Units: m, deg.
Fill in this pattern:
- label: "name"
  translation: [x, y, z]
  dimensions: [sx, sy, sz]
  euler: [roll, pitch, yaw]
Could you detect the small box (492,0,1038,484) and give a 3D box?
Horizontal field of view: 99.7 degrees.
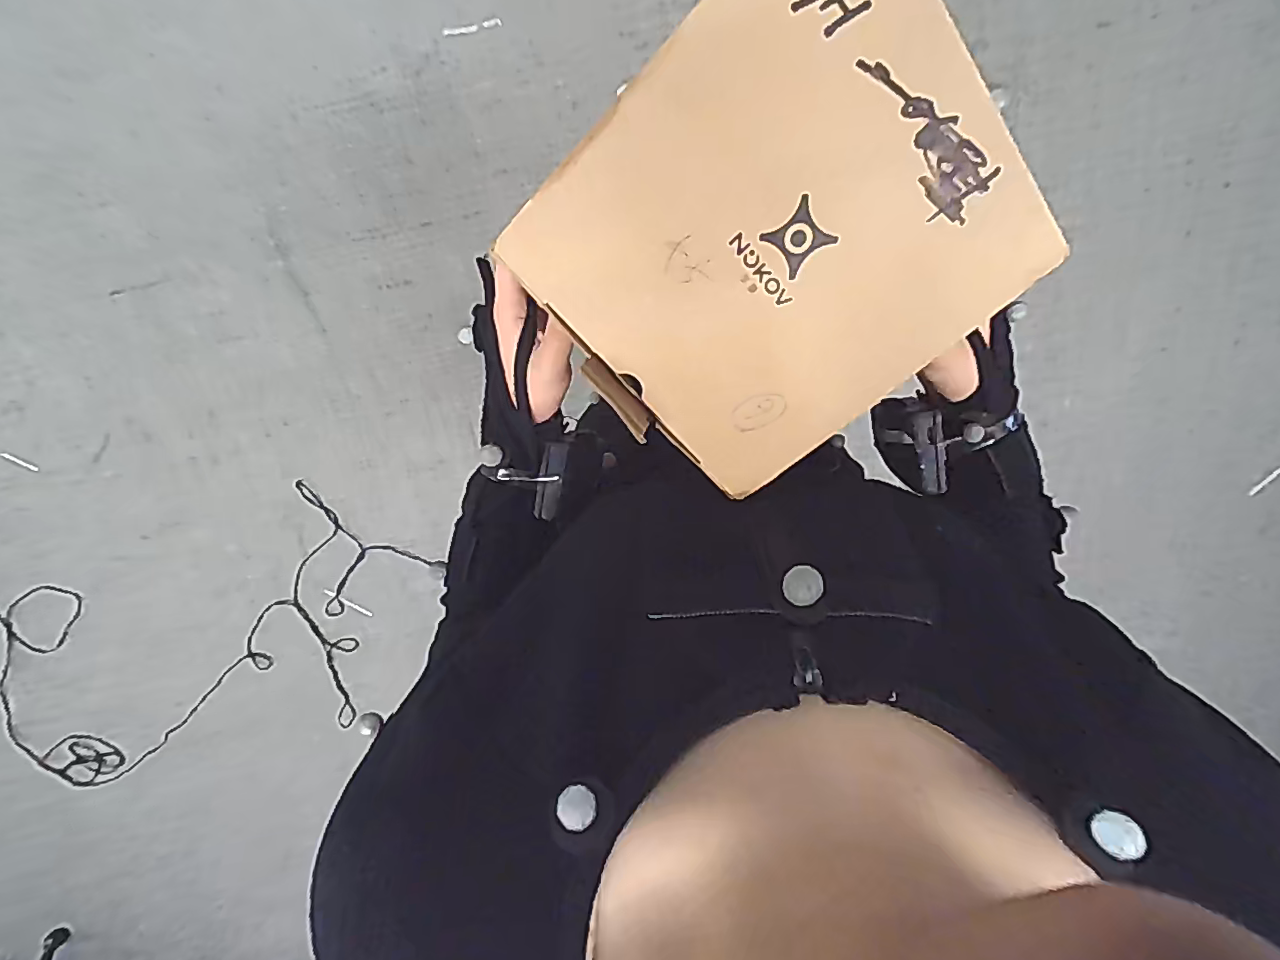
- label: "small box"
  translation: [0.054, -0.137, 0.300]
  dimensions: [0.179, 0.176, 0.168]
  euler: [-40, 111, 21]
